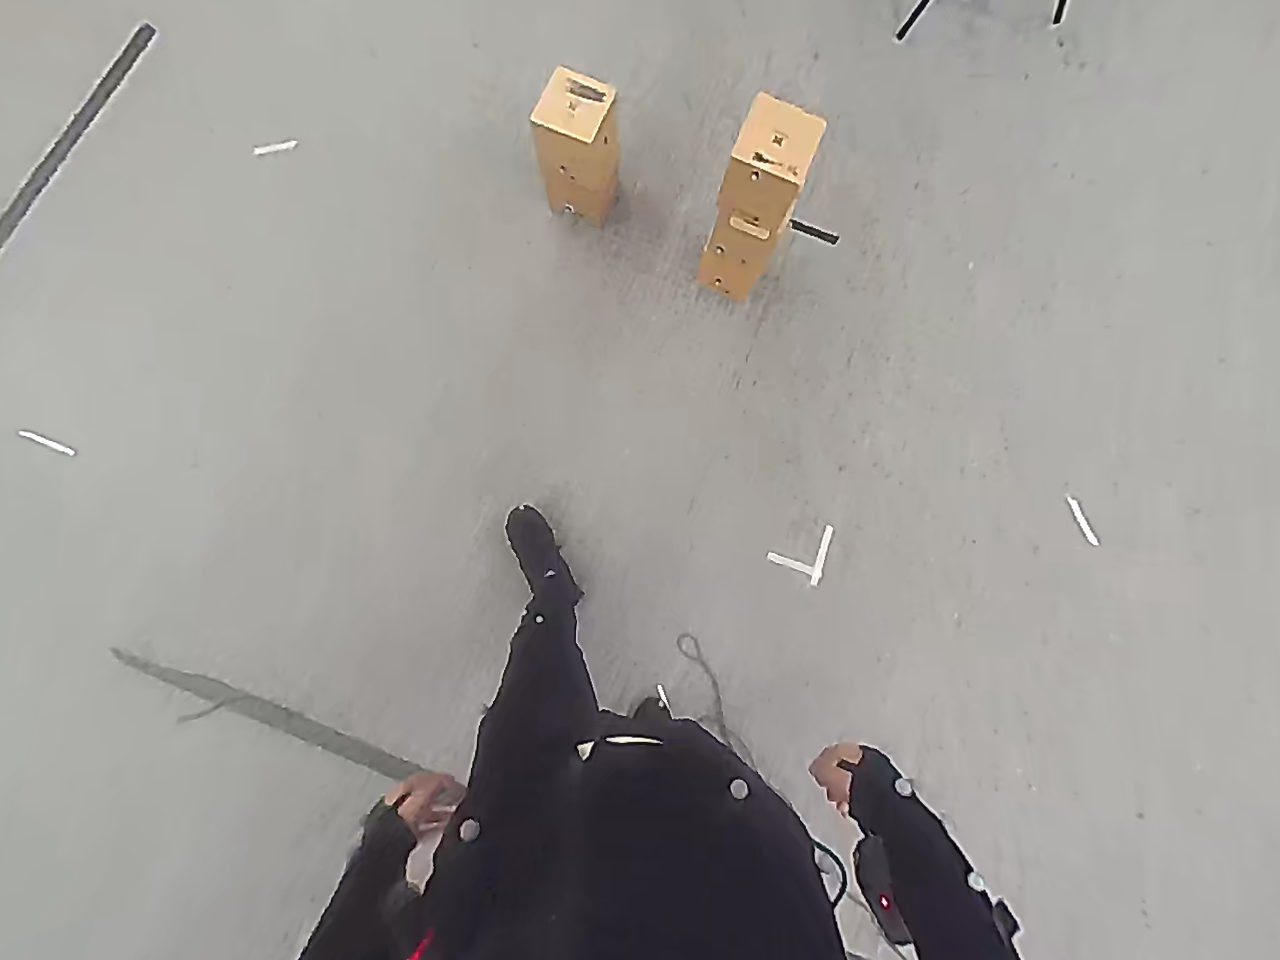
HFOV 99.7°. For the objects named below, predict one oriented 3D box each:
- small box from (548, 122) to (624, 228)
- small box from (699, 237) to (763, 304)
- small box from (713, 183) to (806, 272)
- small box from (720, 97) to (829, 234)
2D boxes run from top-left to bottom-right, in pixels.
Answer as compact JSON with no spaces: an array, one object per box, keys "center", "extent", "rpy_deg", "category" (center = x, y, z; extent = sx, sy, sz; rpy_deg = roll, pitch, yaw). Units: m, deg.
[{"center":[-0.155,-0.878,1.570],"extent":[0.168,0.176,0.179],"rpy_deg":[20,79,1],"category":"small box"},{"center":[0.282,-0.647,1.558],"extent":[0.168,0.176,0.179],"rpy_deg":[24,80,1],"category":"small box"},{"center":[0.299,-0.674,1.397],"extent":[0.168,0.176,0.179],"rpy_deg":[24,79,0],"category":"small box"},{"center":[0.298,-0.710,1.235],"extent":[0.168,0.176,0.179],"rpy_deg":[24,79,1],"category":"small box"}]
